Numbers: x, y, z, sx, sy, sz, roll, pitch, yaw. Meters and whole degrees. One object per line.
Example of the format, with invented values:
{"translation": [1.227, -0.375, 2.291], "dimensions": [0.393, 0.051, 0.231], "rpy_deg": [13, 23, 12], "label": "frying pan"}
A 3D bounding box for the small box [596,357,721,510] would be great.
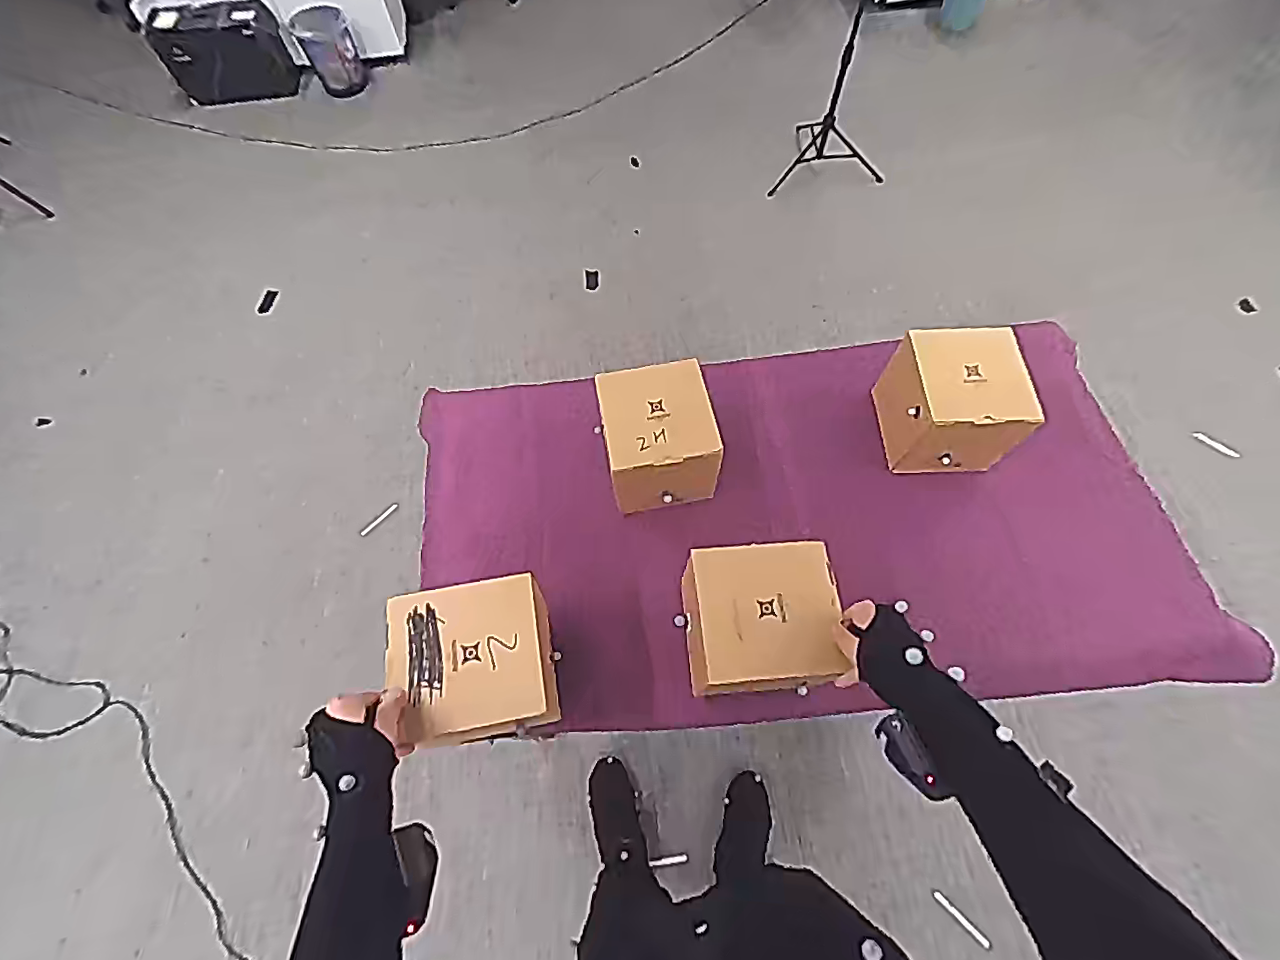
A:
{"translation": [0.025, -0.071, 0.887], "dimensions": [0.168, 0.176, 0.179], "rpy_deg": [-10, 64, -3], "label": "small box"}

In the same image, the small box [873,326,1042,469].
{"translation": [0.509, -0.133, 0.901], "dimensions": [0.168, 0.176, 0.179], "rpy_deg": [-2, 65, 2], "label": "small box"}

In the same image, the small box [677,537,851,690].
{"translation": [0.152, 0.185, 0.730], "dimensions": [0.179, 0.176, 0.168], "rpy_deg": [-3, 63, -4], "label": "small box"}
